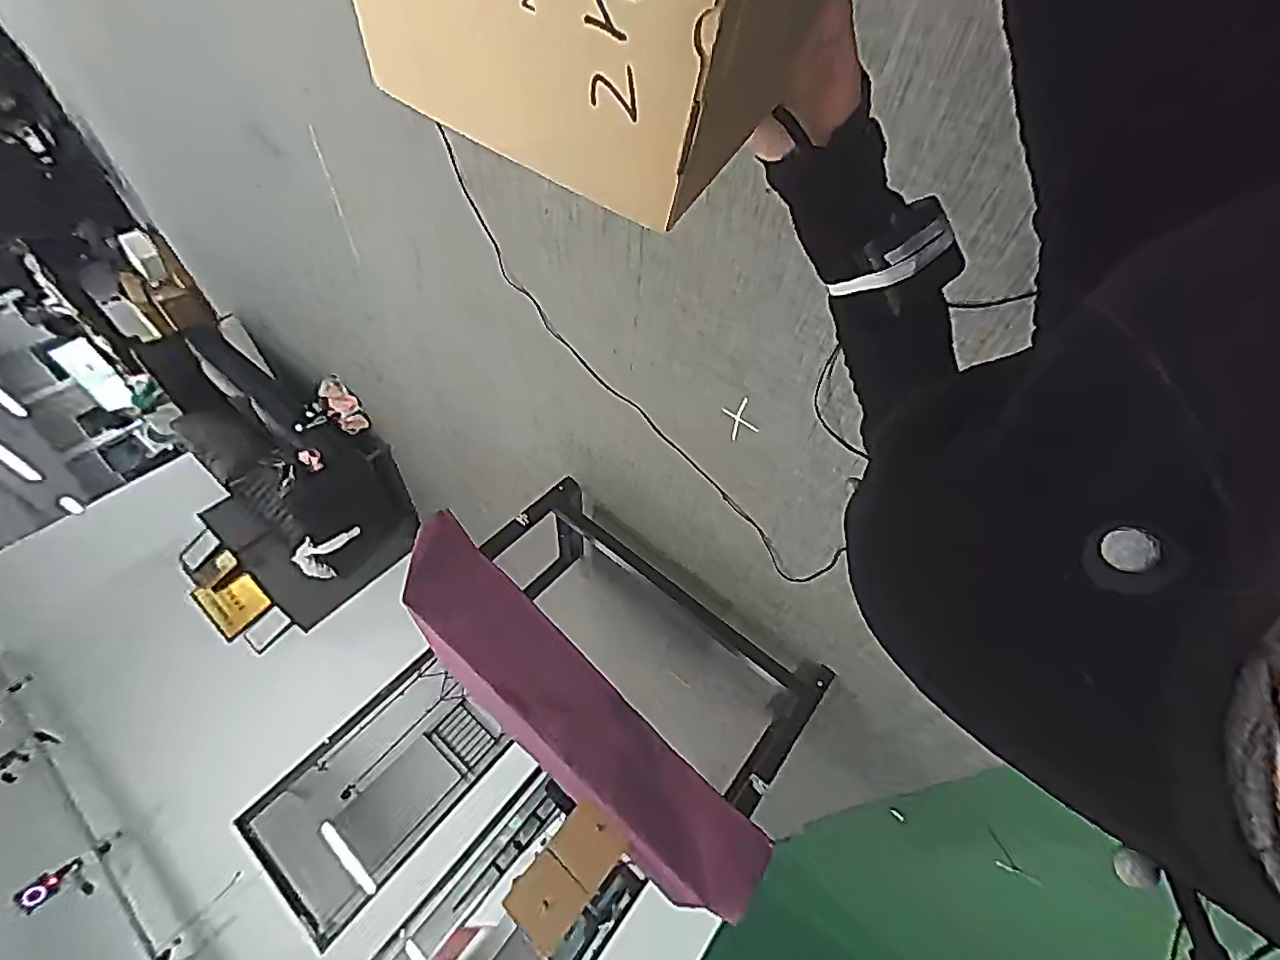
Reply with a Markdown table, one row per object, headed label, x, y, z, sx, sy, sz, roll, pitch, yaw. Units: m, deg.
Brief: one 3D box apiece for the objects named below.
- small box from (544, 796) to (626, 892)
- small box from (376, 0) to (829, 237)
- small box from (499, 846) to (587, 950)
| label | x | y | z | sx | sy | sz | roll | pitch | yaw |
| --- | --- | --- | --- | --- | --- | --- | --- | --- | --- |
| small box | -0.162 | 1.074 | 1.606 | 0.179 | 0.176 | 0.168 | 34 | 147 | 23 |
| small box | -0.005 | -0.259 | 0.249 | 0.179 | 0.176 | 0.168 | 30 | 152 | 5 |
| small box | -0.268 | 1.168 | 1.522 | 0.179 | 0.176 | 0.168 | 33 | 146 | 22 |
